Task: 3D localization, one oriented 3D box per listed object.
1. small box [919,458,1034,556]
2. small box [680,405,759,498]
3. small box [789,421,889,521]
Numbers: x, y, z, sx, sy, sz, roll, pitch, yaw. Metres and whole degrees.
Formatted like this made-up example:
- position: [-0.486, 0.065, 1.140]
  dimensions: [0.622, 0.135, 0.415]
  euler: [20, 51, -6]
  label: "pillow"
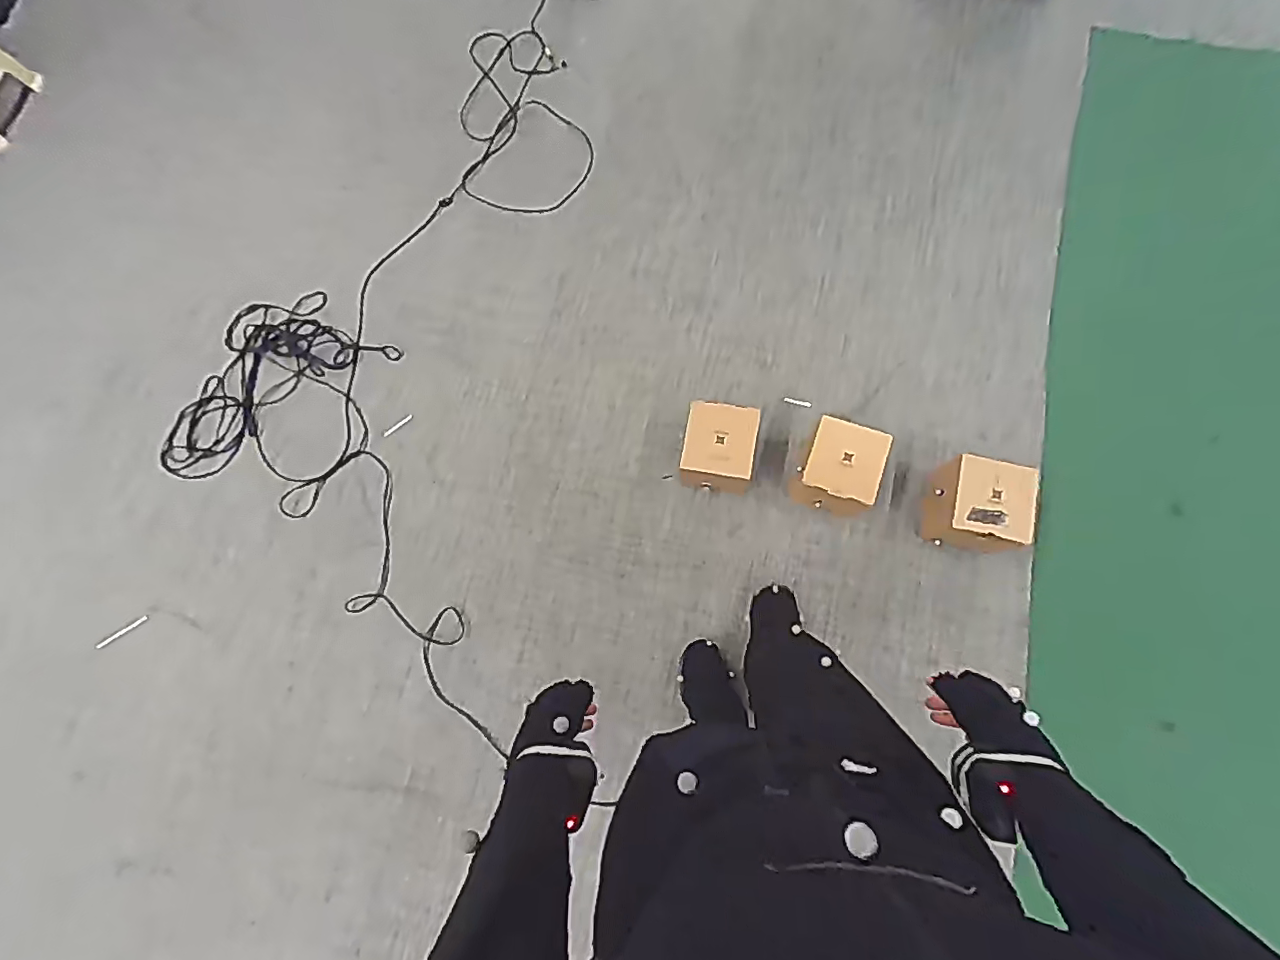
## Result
- position: [0.776, 0.071, 1.262]
  dimensions: [0.168, 0.176, 0.179]
  euler: [14, 76, 7]
  label: "small box"
- position: [0.193, -0.066, 1.338]
  dimensions: [0.168, 0.176, 0.179]
  euler: [9, 78, 8]
  label: "small box"
- position: [0.472, -0.016, 1.307]
  dimensions: [0.168, 0.176, 0.179]
  euler: [19, 78, 8]
  label: "small box"
